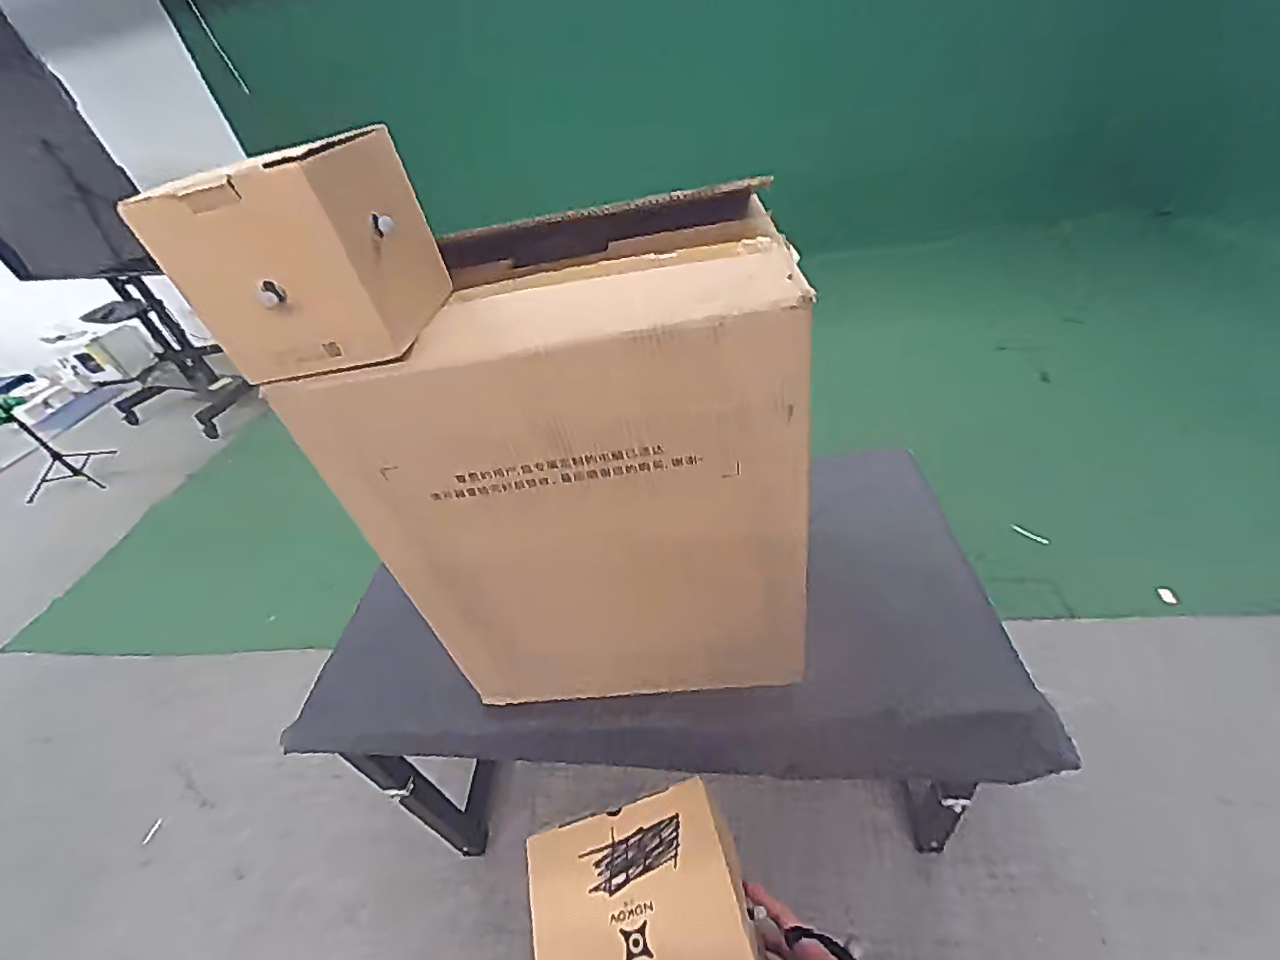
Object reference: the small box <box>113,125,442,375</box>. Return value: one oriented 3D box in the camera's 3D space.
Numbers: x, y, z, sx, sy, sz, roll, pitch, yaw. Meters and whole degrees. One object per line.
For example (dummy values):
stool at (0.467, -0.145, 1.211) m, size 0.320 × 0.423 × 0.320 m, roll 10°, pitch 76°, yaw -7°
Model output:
small box at (-0.320, -0.216, 0.527) m, size 0.168 × 0.176 × 0.179 m, roll -8°, pitch 41°, yaw 9°
